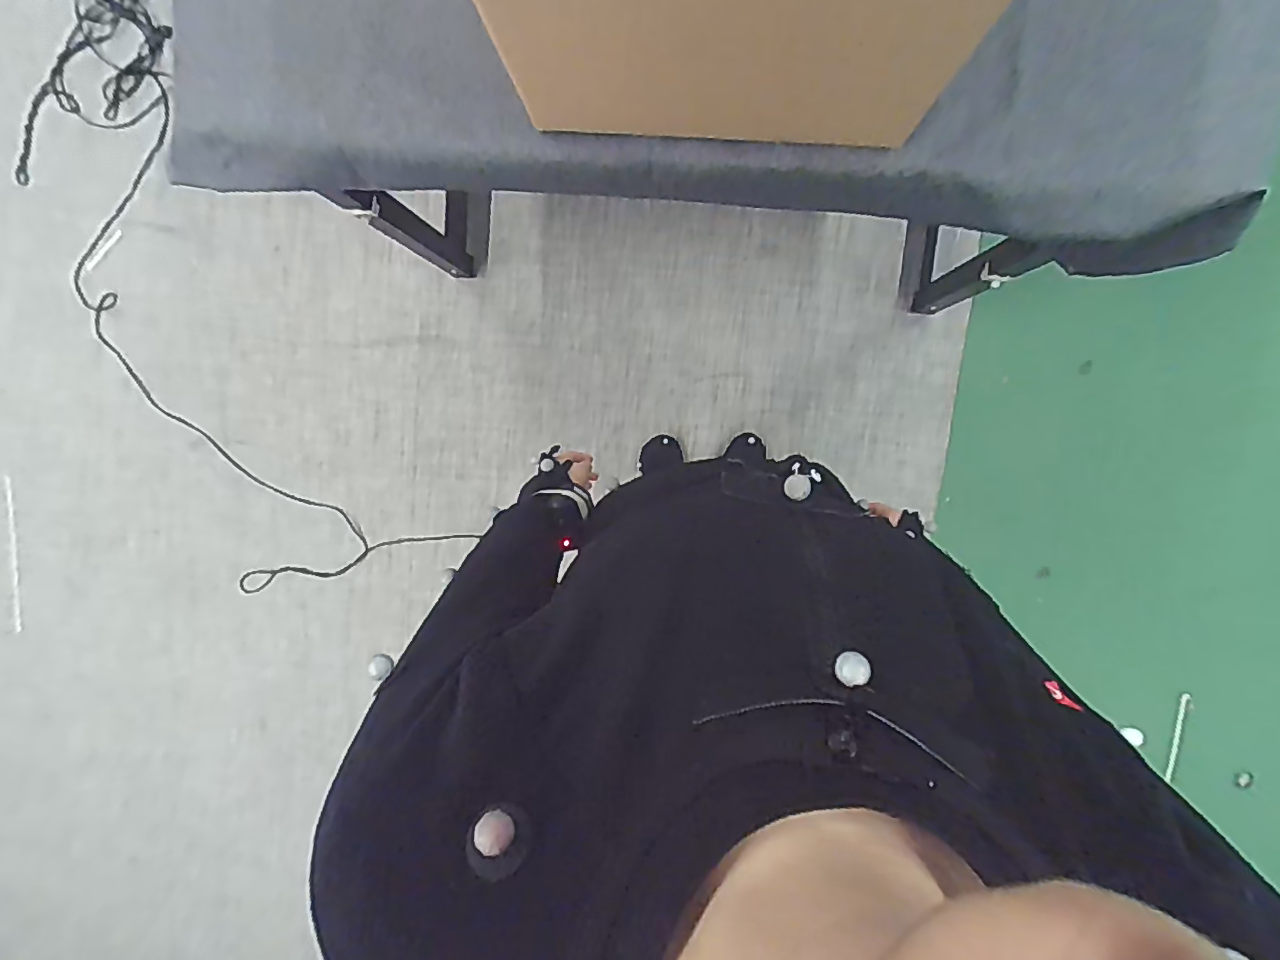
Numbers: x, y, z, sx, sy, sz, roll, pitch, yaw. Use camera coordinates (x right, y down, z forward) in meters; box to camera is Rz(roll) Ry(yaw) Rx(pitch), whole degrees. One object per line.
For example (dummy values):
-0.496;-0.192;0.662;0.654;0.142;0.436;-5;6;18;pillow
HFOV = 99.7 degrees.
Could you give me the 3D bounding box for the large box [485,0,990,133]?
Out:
0.080;-0.522;0.435;0.408;0.320;0.320;4;95;3;large box
